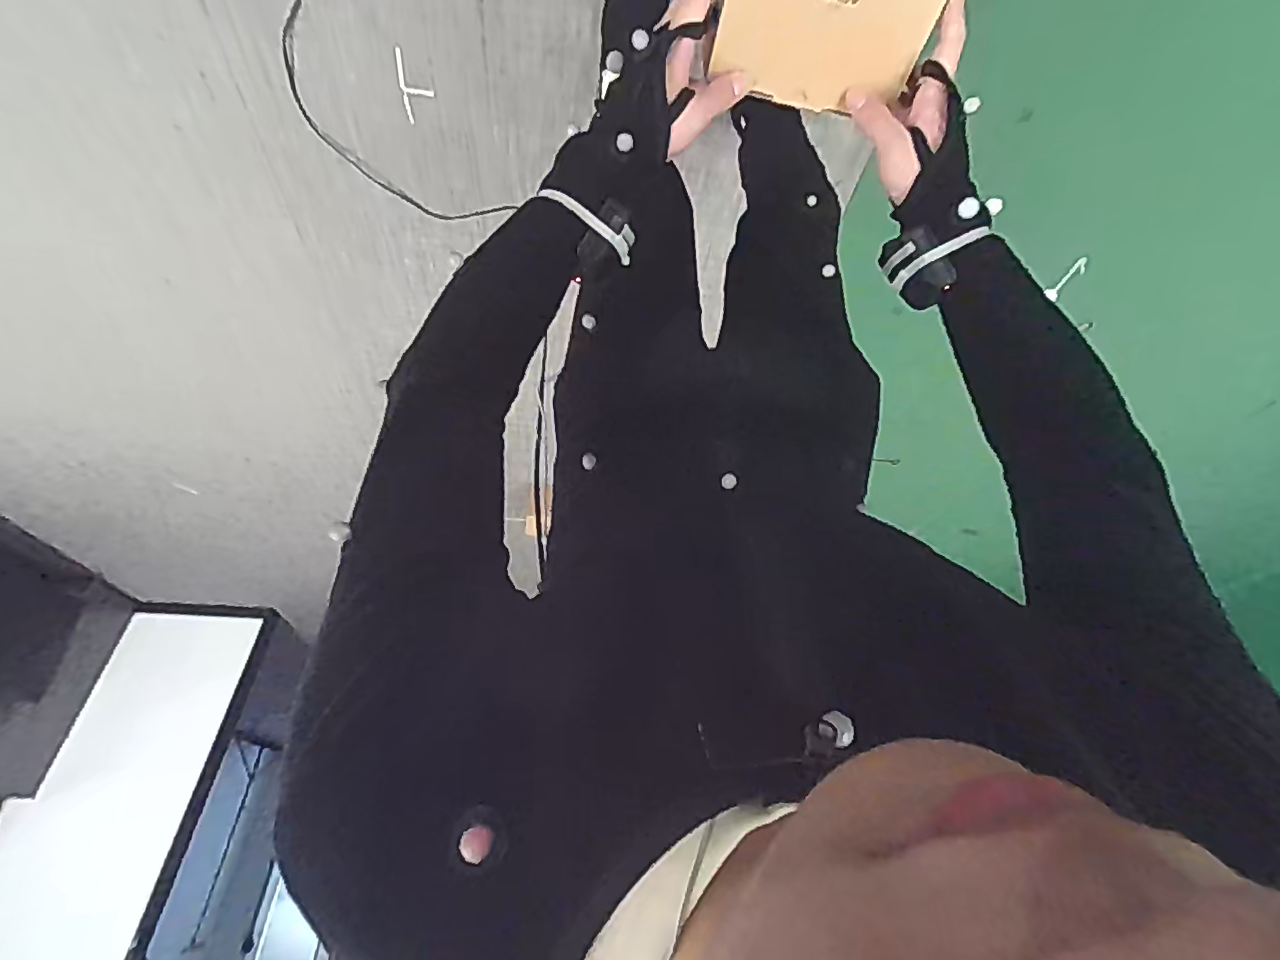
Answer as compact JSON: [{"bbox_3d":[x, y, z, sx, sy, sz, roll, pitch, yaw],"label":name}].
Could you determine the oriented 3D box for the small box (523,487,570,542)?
[{"bbox_3d":[-0.397,0.147,2.298,0.179,0.176,0.168,9,144,-10],"label":"small box"}]

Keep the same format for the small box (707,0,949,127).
[{"bbox_3d":[0.156,-0.438,0.448,0.168,0.176,0.179,8,144,-7],"label":"small box"}]
